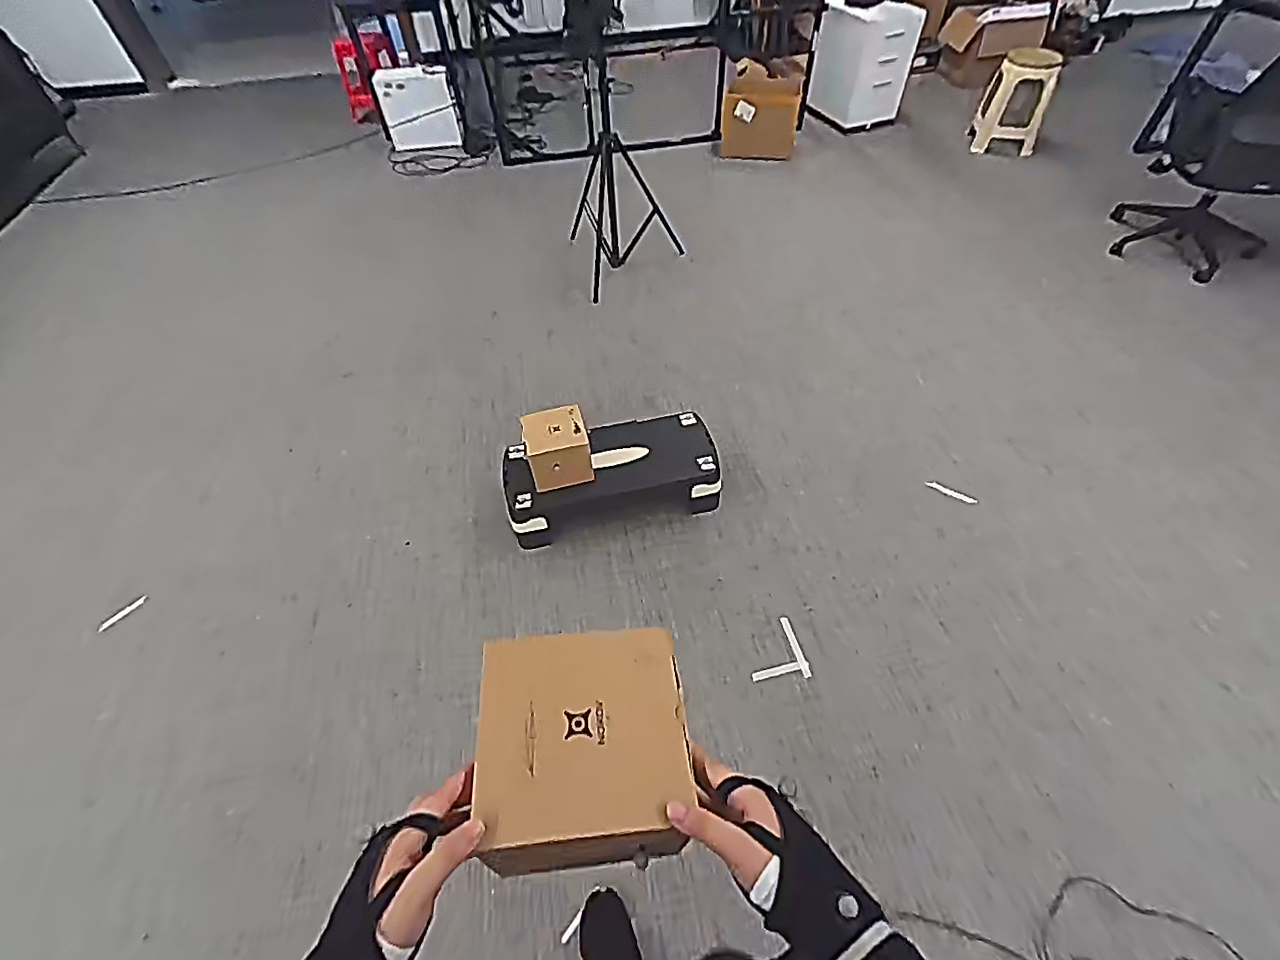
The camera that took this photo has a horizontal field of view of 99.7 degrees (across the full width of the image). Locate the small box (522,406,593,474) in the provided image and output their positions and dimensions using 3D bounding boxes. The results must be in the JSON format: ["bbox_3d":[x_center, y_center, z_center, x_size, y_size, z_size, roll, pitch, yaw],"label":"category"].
[{"bbox_3d":[-0.243,-0.091,1.609,0.179,0.176,0.168,-14,53,-8],"label":"small box"}]

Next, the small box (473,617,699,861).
[{"bbox_3d":[-0.052,0.252,0.524,0.179,0.176,0.168,-4,48,-6],"label":"small box"}]
